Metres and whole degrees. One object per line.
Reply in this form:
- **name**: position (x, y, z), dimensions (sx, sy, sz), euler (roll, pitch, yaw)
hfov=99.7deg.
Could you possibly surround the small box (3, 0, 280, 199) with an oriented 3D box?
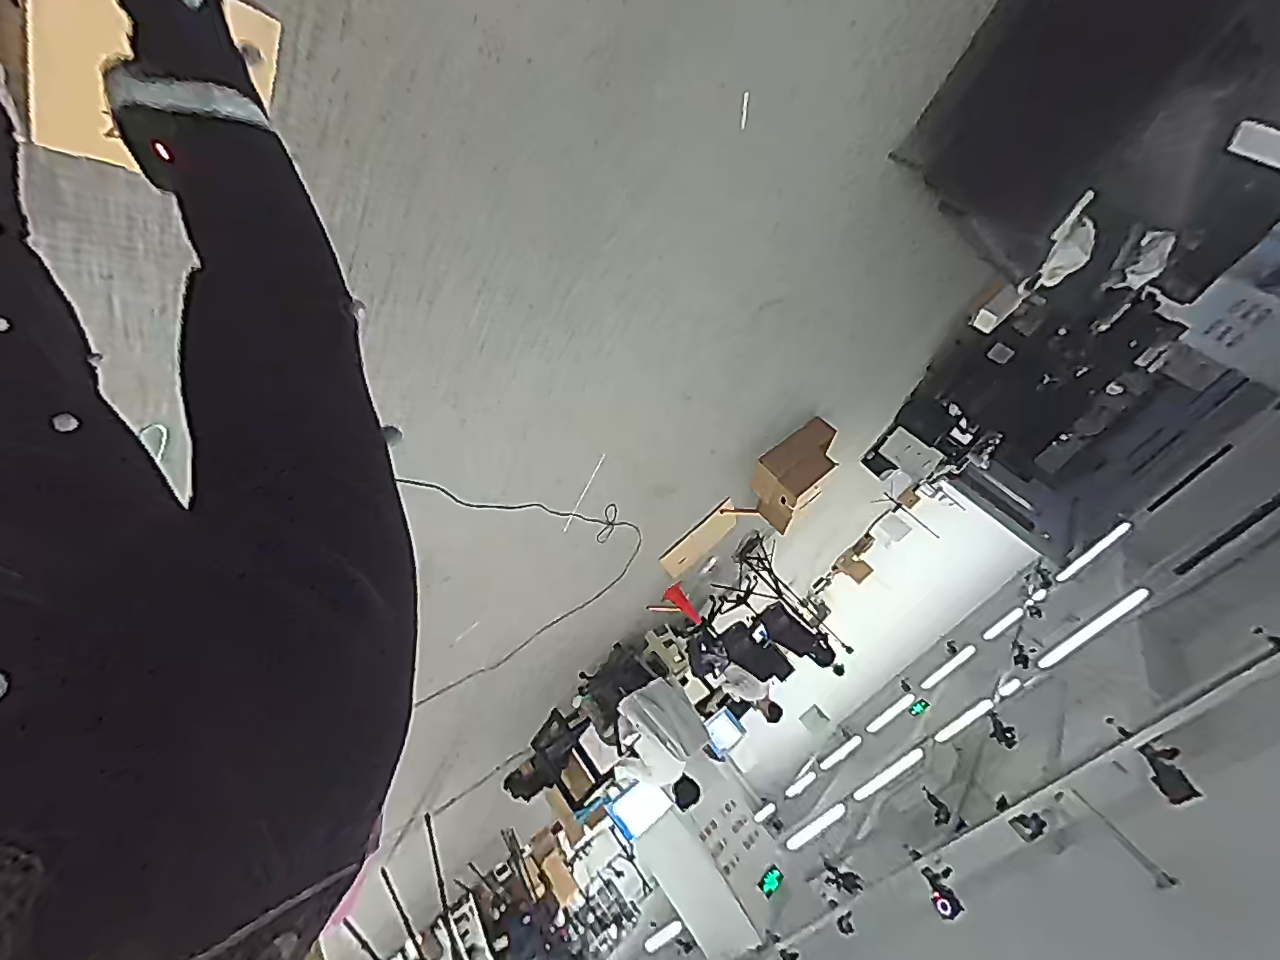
- **small box**: position (-0.480, -0.415, 0.521), dimensions (0.168, 0.176, 0.179), euler (-9, 137, -52)

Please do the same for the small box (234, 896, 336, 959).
- **small box**: position (-0.950, 1.270, 1.446), dimensions (0.179, 0.176, 0.168), euler (-10, 138, -50)
